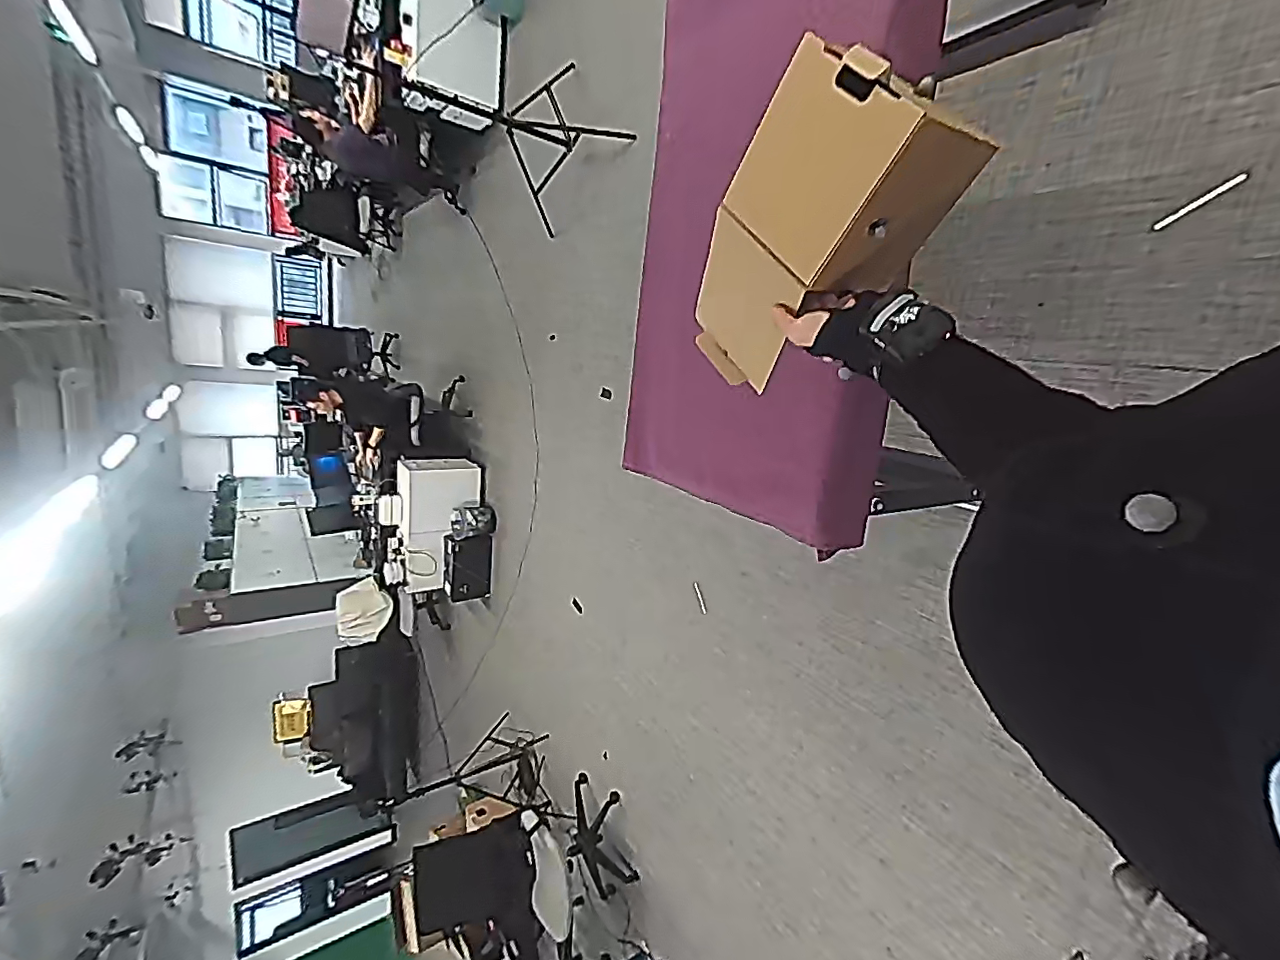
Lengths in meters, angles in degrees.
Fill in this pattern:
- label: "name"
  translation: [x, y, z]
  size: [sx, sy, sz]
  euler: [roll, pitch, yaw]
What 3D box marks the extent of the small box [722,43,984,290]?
- label: "small box"
  translation: [0.232, -0.331, 0.603]
  size: [0.168, 0.176, 0.179]
  euler: [56, 139, 25]
